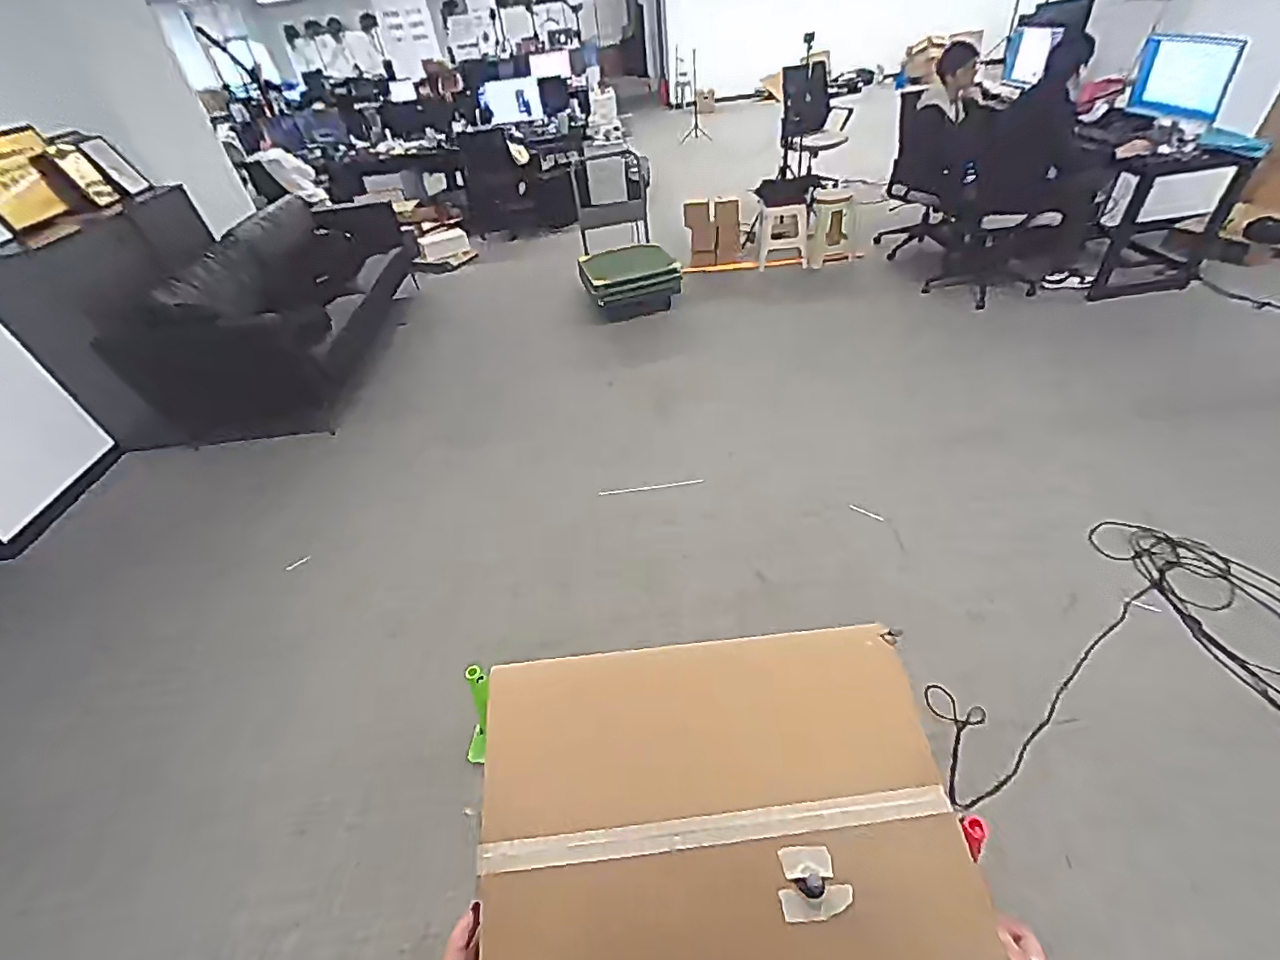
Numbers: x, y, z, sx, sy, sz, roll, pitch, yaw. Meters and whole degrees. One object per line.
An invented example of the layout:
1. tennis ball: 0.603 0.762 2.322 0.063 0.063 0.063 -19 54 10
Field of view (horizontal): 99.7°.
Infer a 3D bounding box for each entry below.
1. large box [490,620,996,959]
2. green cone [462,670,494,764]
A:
1. large box: 0.067 0.376 0.603 0.408 0.320 0.320 -6 59 -3
2. green cone: -0.439 0.652 1.567 0.200 0.368 0.202 -3 43 7
